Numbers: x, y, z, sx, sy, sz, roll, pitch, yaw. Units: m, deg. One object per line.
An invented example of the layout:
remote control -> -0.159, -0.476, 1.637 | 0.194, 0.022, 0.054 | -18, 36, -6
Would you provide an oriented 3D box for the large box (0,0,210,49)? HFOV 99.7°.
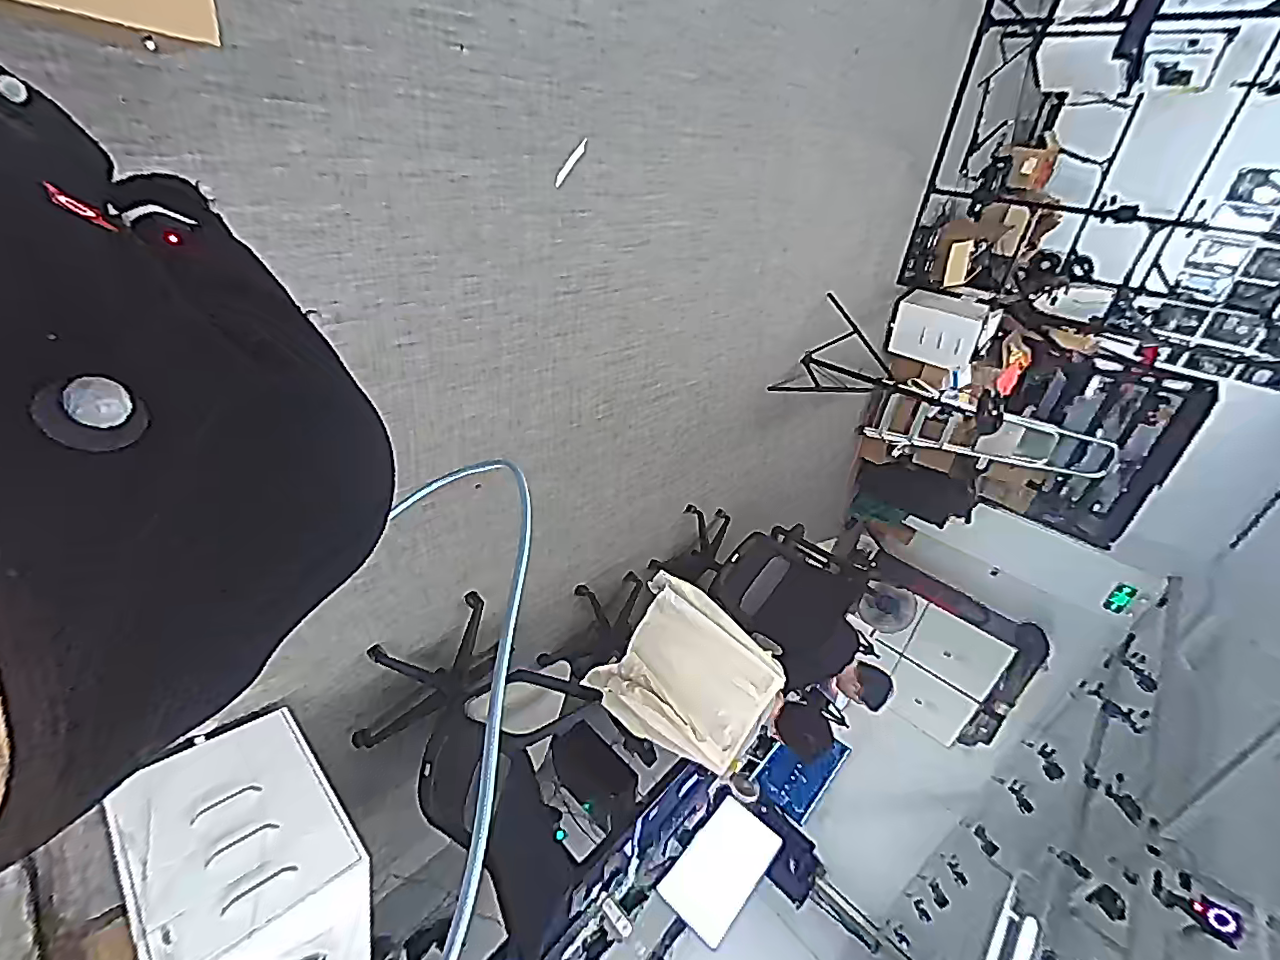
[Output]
large box -> -0.818, -0.737, 0.627 | 0.408, 0.320, 0.320 | -22, 130, -44
